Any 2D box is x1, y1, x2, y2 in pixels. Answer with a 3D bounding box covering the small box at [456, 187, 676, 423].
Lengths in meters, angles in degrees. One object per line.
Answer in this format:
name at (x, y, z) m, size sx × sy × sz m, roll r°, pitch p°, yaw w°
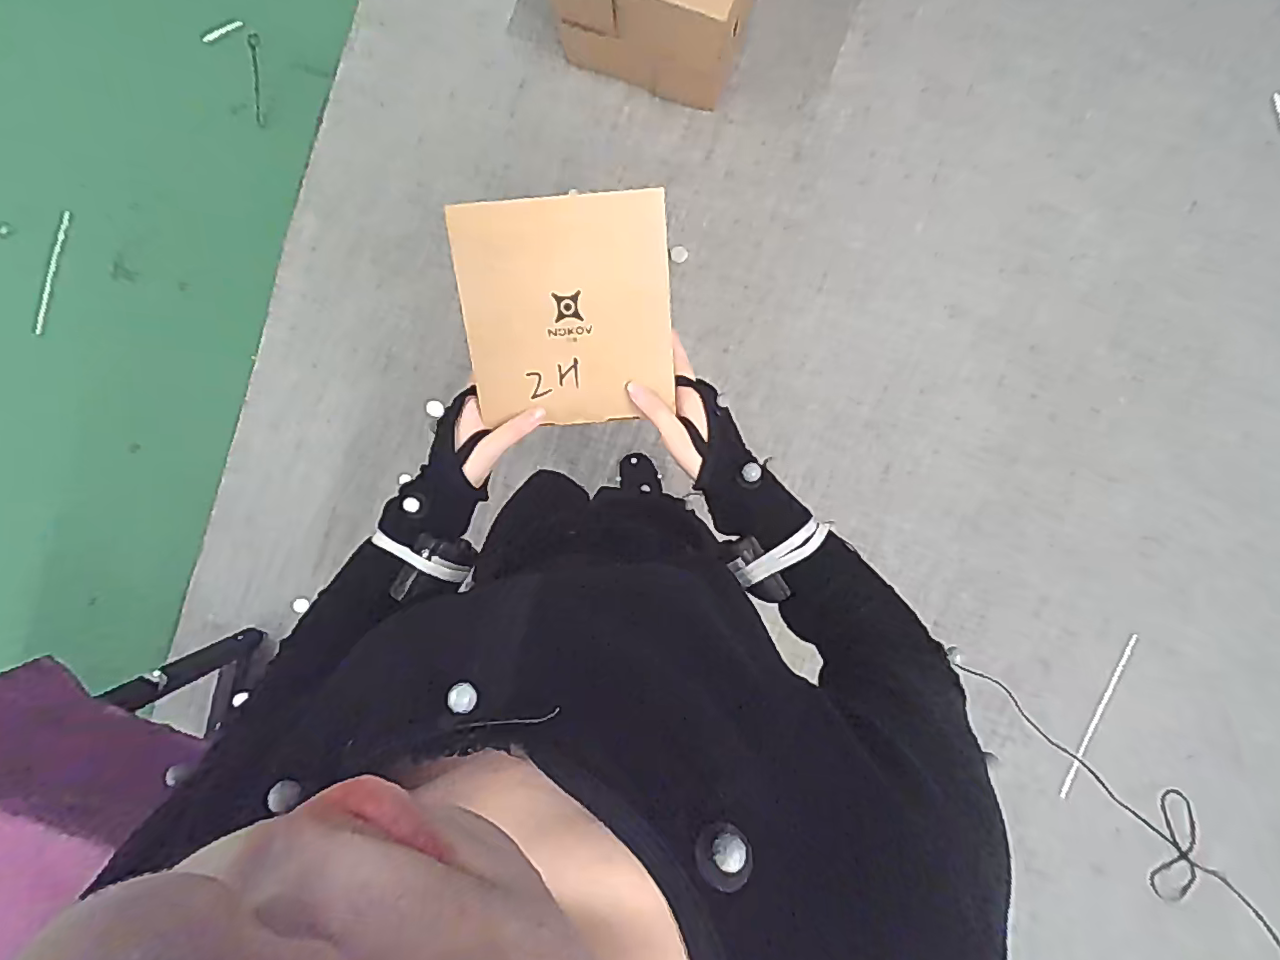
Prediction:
small box at (-0.055, -0.161, 0.509) m, size 0.168 × 0.176 × 0.179 m, roll -3°, pitch 111°, yaw 1°
